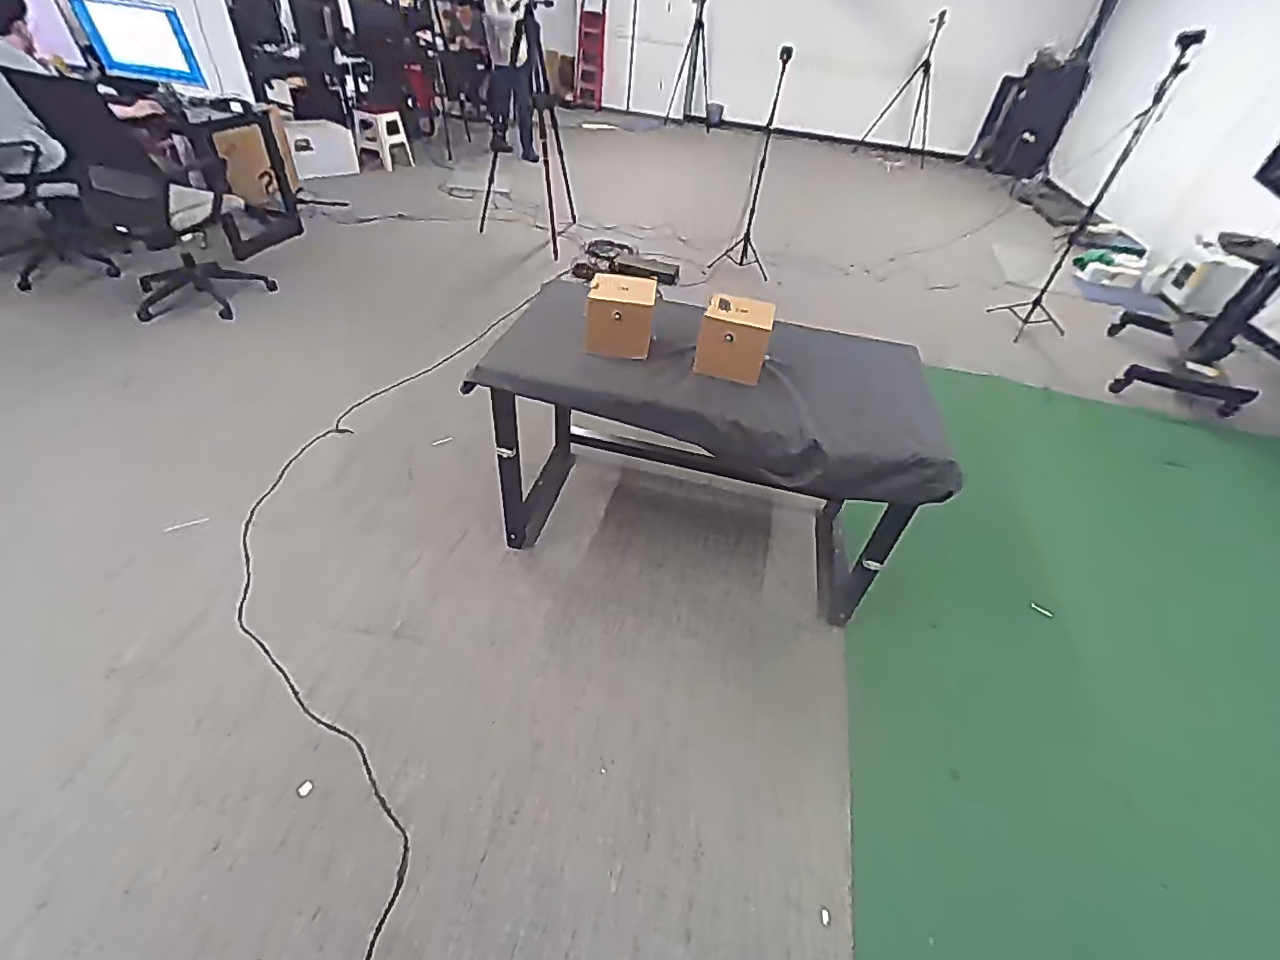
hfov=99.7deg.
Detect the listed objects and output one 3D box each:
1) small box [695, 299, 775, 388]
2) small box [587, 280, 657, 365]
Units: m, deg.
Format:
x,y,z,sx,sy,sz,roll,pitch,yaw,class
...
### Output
x,y,z,sx,sy,sz,roll,pitch,yaw,class
0.256,-0.369,1.470,0.179,0.176,0.168,14,42,7,small box
-0.052,-0.437,1.508,0.179,0.176,0.168,7,43,-1,small box
